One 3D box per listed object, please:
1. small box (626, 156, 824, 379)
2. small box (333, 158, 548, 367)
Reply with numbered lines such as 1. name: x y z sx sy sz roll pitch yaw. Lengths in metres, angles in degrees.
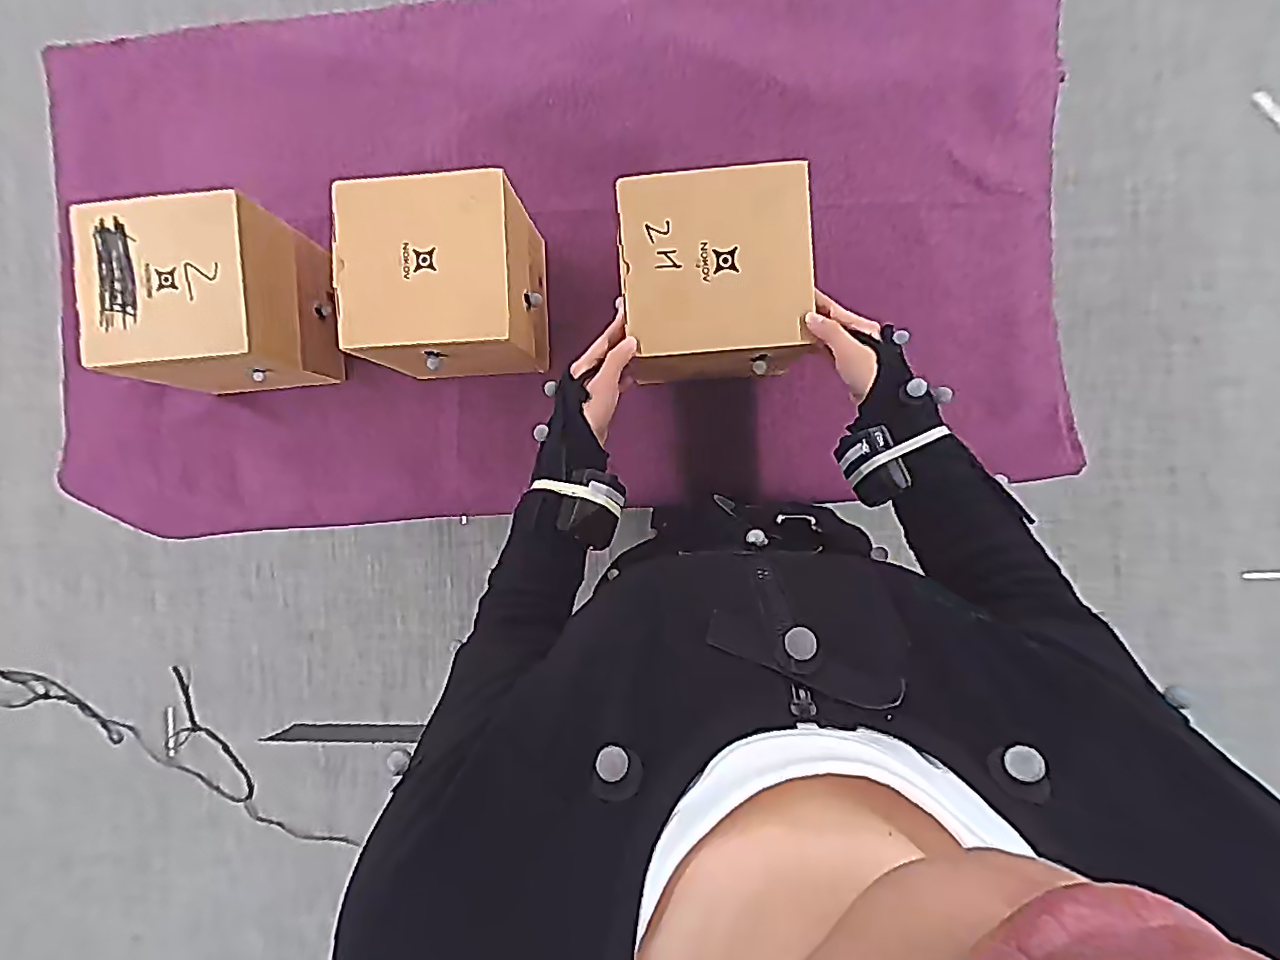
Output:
1. small box: 0.082 -0.206 0.570 0.179 0.176 0.168 -3 89 5
2. small box: -0.202 -0.223 0.598 0.179 0.176 0.168 -2 91 5
